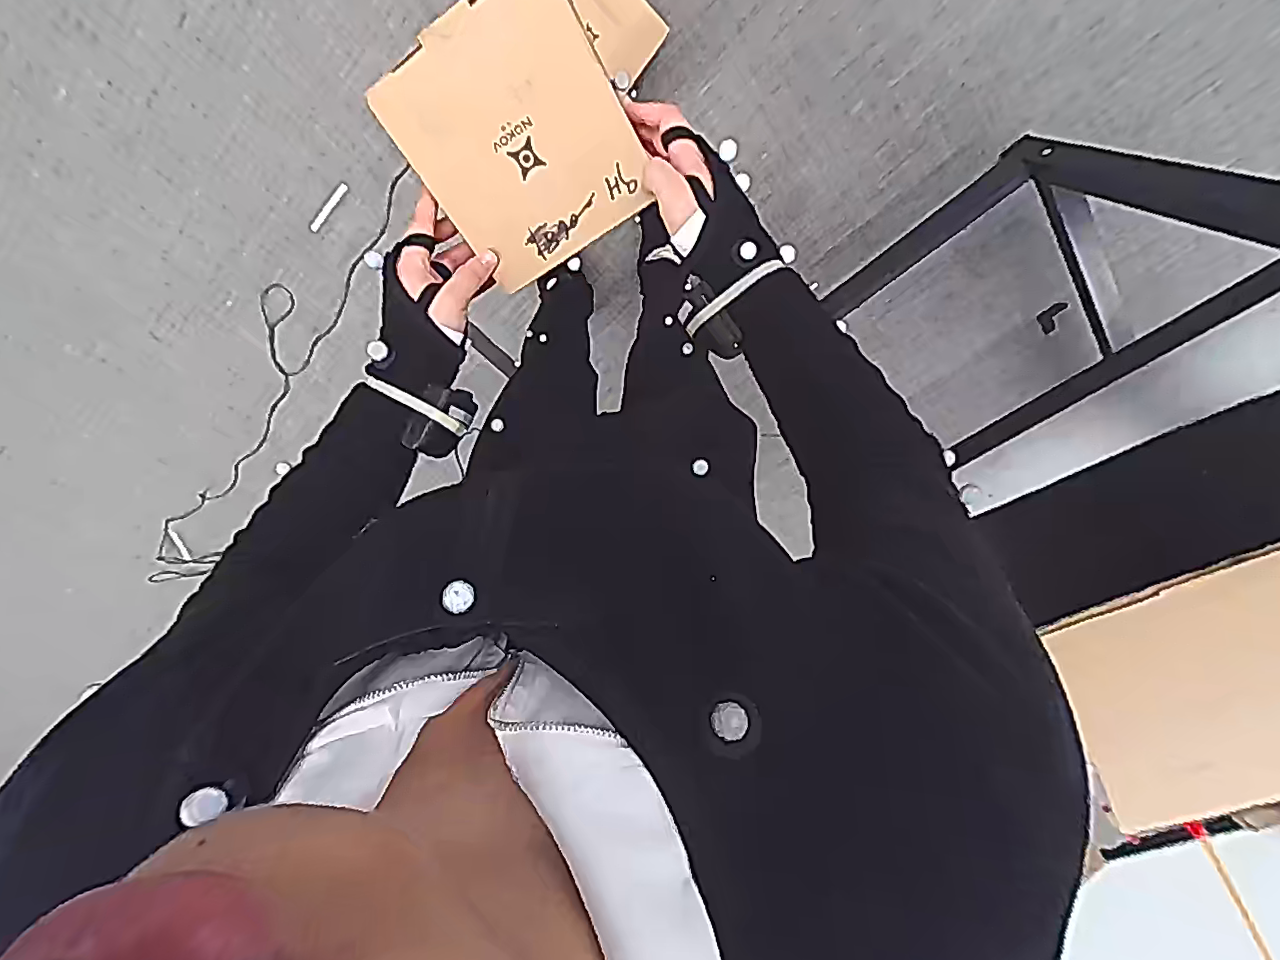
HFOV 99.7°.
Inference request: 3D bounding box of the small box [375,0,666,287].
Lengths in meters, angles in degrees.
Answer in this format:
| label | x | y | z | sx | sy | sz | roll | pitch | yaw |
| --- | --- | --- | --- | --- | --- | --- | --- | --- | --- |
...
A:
| label | x | y | z | sx | sy | sz | roll | pitch | yaw |
| --- | --- | --- | --- | --- | --- | --- | --- | --- | --- |
| small box | -0.091 | -0.311 | 0.495 | 0.168 | 0.176 | 0.179 | -27 | 118 | 17 |
